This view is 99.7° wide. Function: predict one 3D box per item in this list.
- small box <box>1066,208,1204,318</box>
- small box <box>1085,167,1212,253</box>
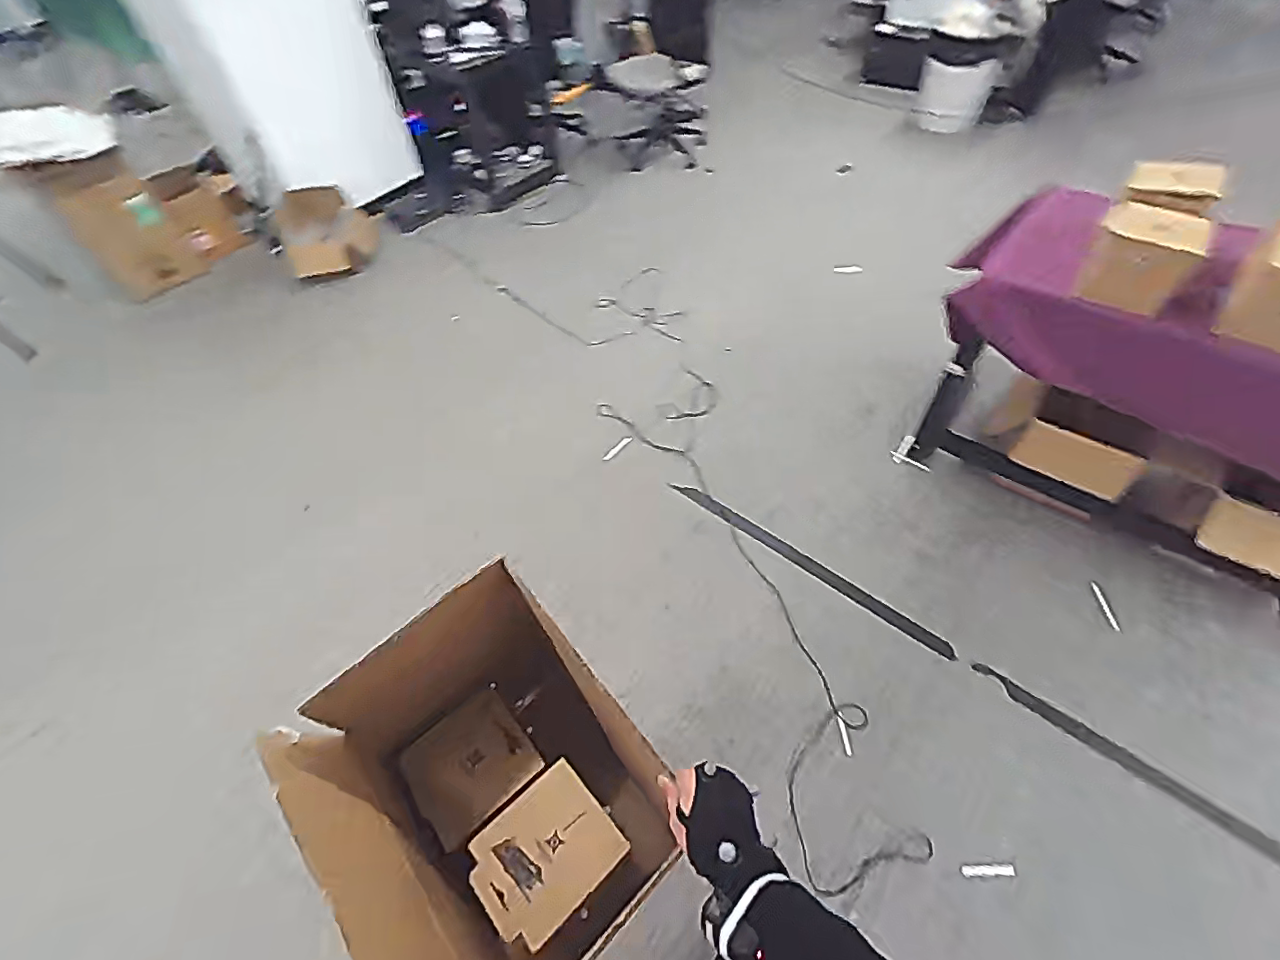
[{"bbox_3d":[1.173,-0.516,1.292,0.179,0.176,0.168,31,61,24],"label":"small box"},{"bbox_3d":[1.311,-0.678,1.405,0.179,0.176,0.168,29,60,23],"label":"small box"}]
